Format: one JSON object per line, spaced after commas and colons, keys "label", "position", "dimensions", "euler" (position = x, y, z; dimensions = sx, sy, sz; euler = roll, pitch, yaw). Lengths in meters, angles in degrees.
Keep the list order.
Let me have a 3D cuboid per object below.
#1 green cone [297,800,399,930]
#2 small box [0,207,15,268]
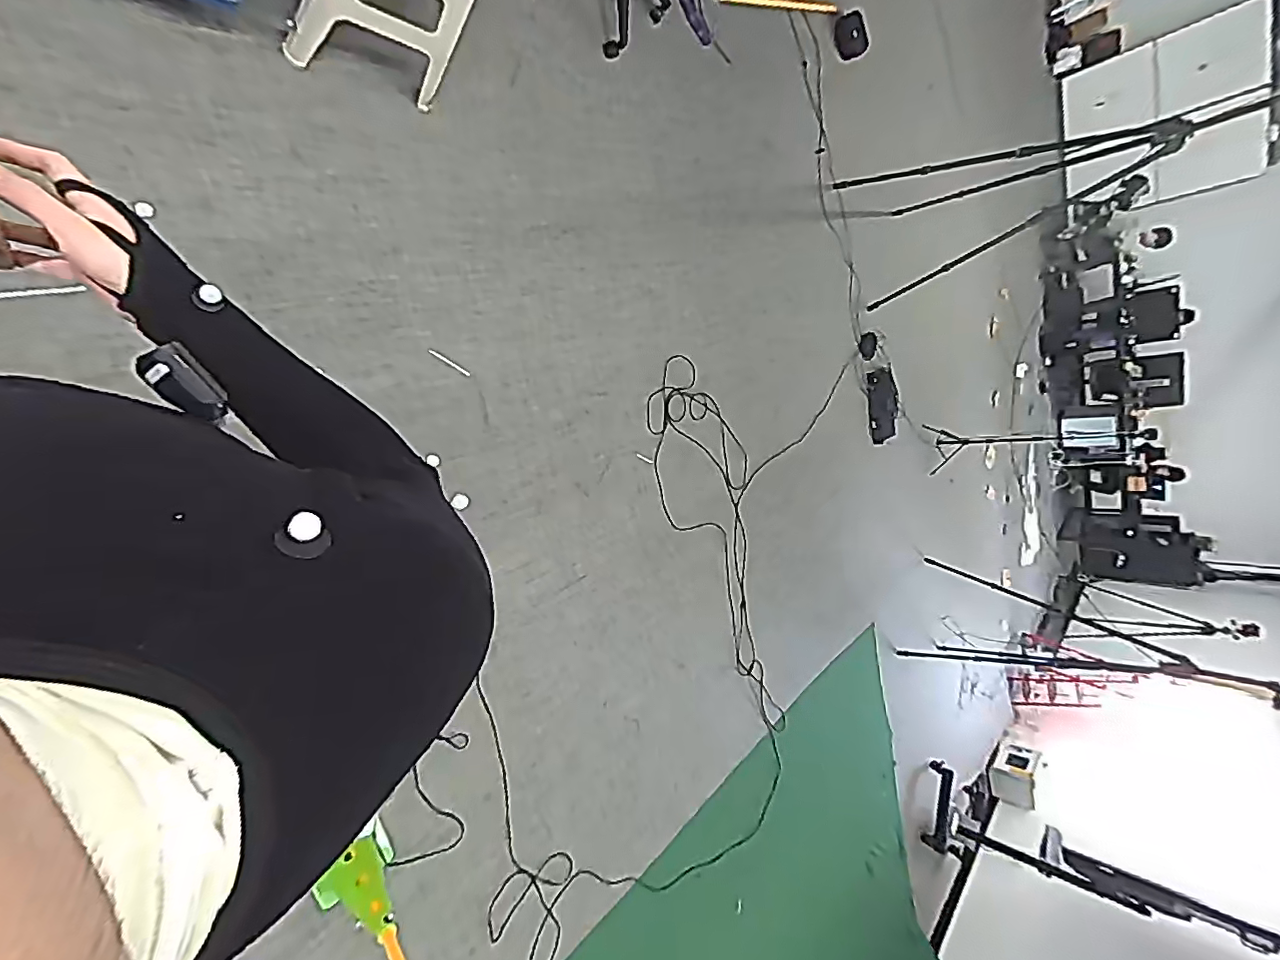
{"label": "green cone", "position": [-0.719, 1.051, 1.411], "dimensions": [0.202, 0.368, 0.200], "euler": [-26, 109, -40]}
{"label": "small box", "position": [-0.555, -0.246, 0.342], "dimensions": [0.168, 0.176, 0.179], "euler": [-18, 104, -40]}
